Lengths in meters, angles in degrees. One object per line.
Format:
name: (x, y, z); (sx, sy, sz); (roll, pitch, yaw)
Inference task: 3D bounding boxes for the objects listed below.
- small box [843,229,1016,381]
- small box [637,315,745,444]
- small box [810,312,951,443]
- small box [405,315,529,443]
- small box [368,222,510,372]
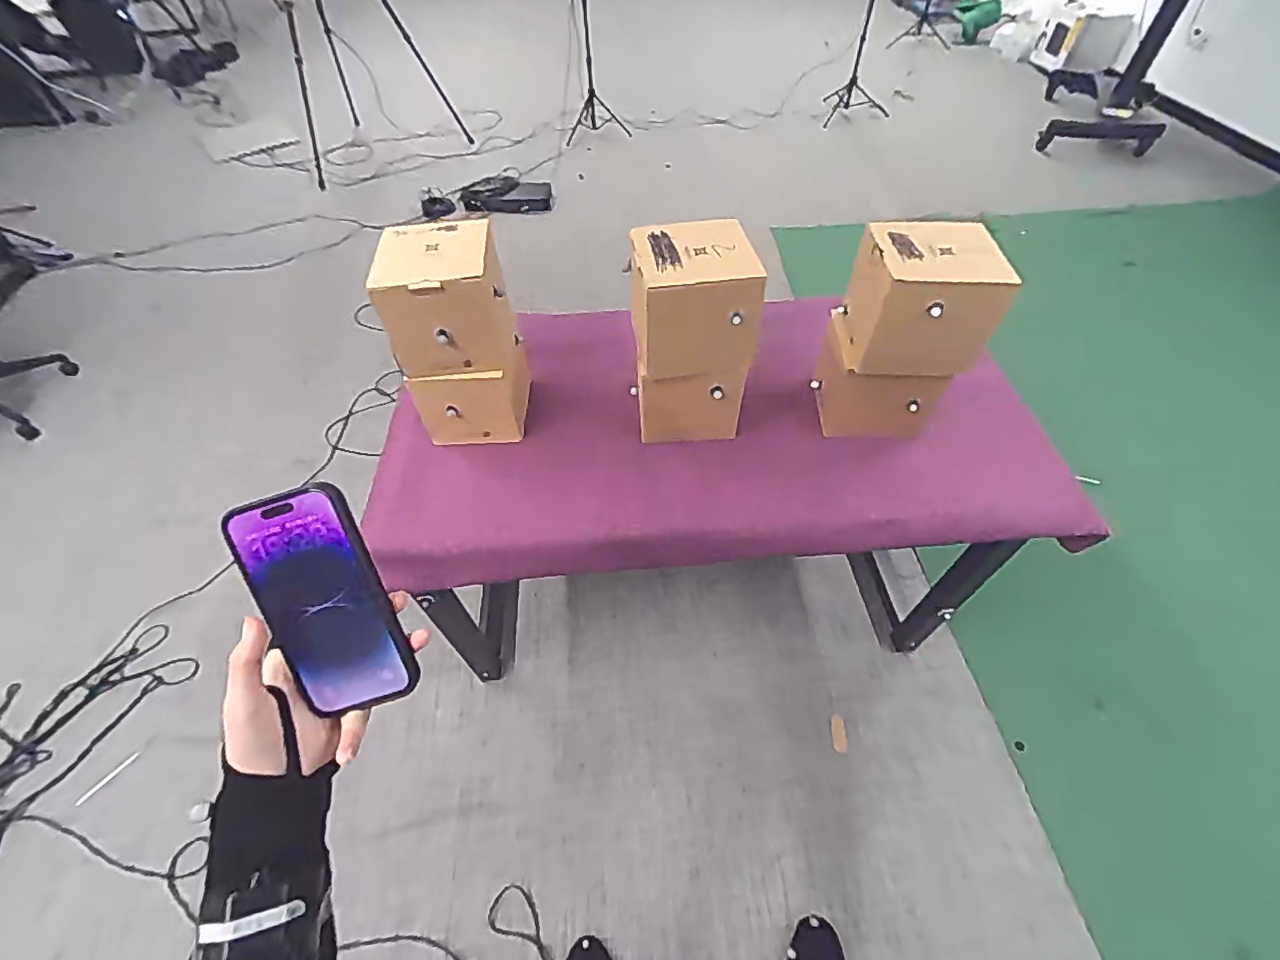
small box: (0.430, -0.270, 0.845); (0.179, 0.176, 0.168); (3, 52, 3)
small box: (0.084, -0.181, 0.990); (0.179, 0.176, 0.168); (-2, 52, 0)
small box: (0.424, -0.182, 0.983); (0.179, 0.176, 0.168); (3, 52, 4)
small box: (-0.307, -0.181, 1.002); (0.168, 0.176, 0.179); (-2, 52, 0)
small box: (-0.311, -0.289, 0.878); (0.168, 0.176, 0.179); (-5, 53, -4)
